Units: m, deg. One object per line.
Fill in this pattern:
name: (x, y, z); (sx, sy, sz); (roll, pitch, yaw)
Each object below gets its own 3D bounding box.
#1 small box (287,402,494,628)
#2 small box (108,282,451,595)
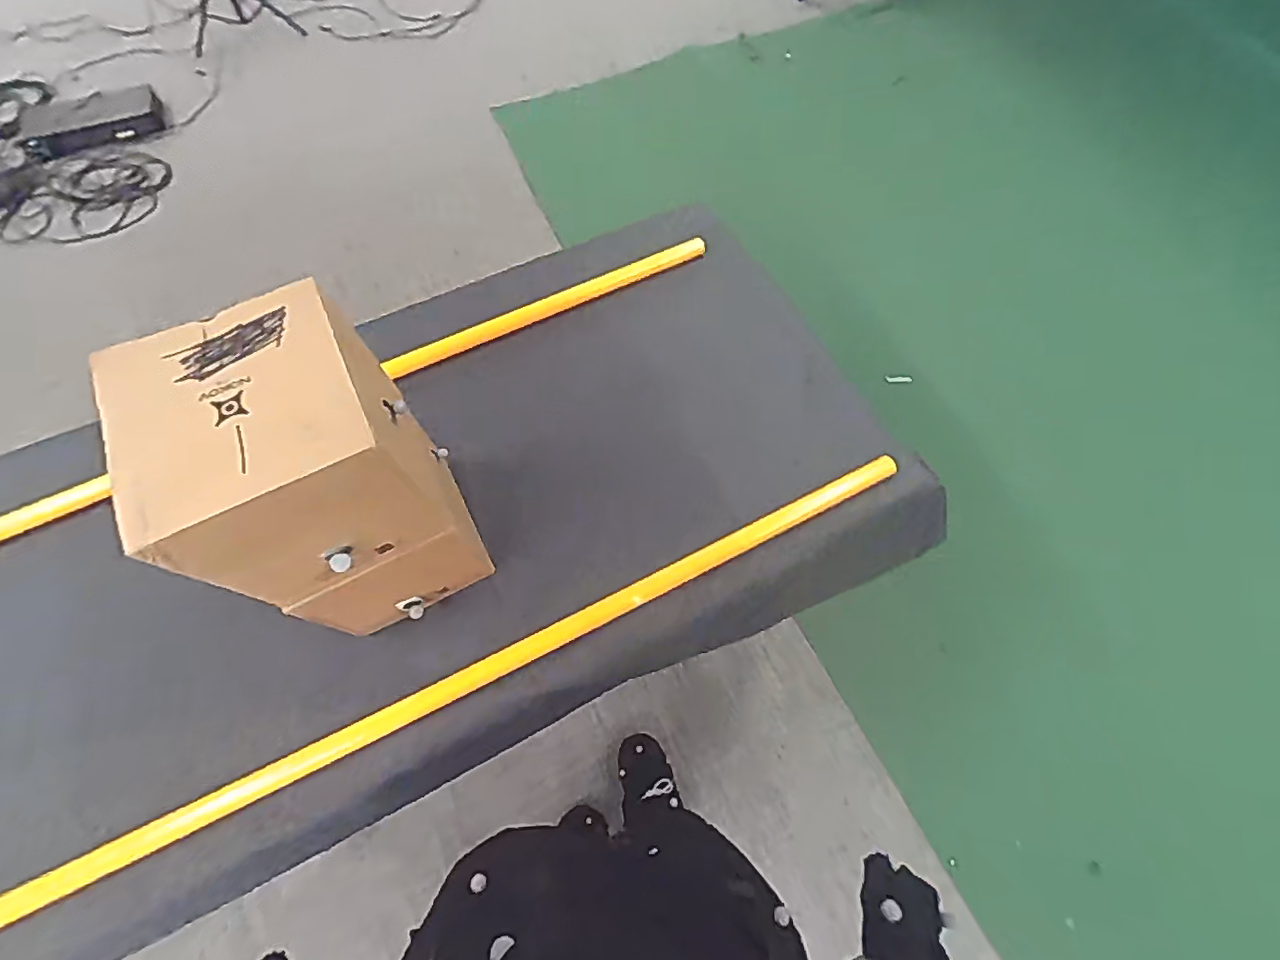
small box: (-0.289, 0.045, 0.614); (0.168, 0.176, 0.179); (-28, 70, -11)
small box: (-0.289, -0.025, 0.465); (0.168, 0.176, 0.179); (-27, 69, -11)
